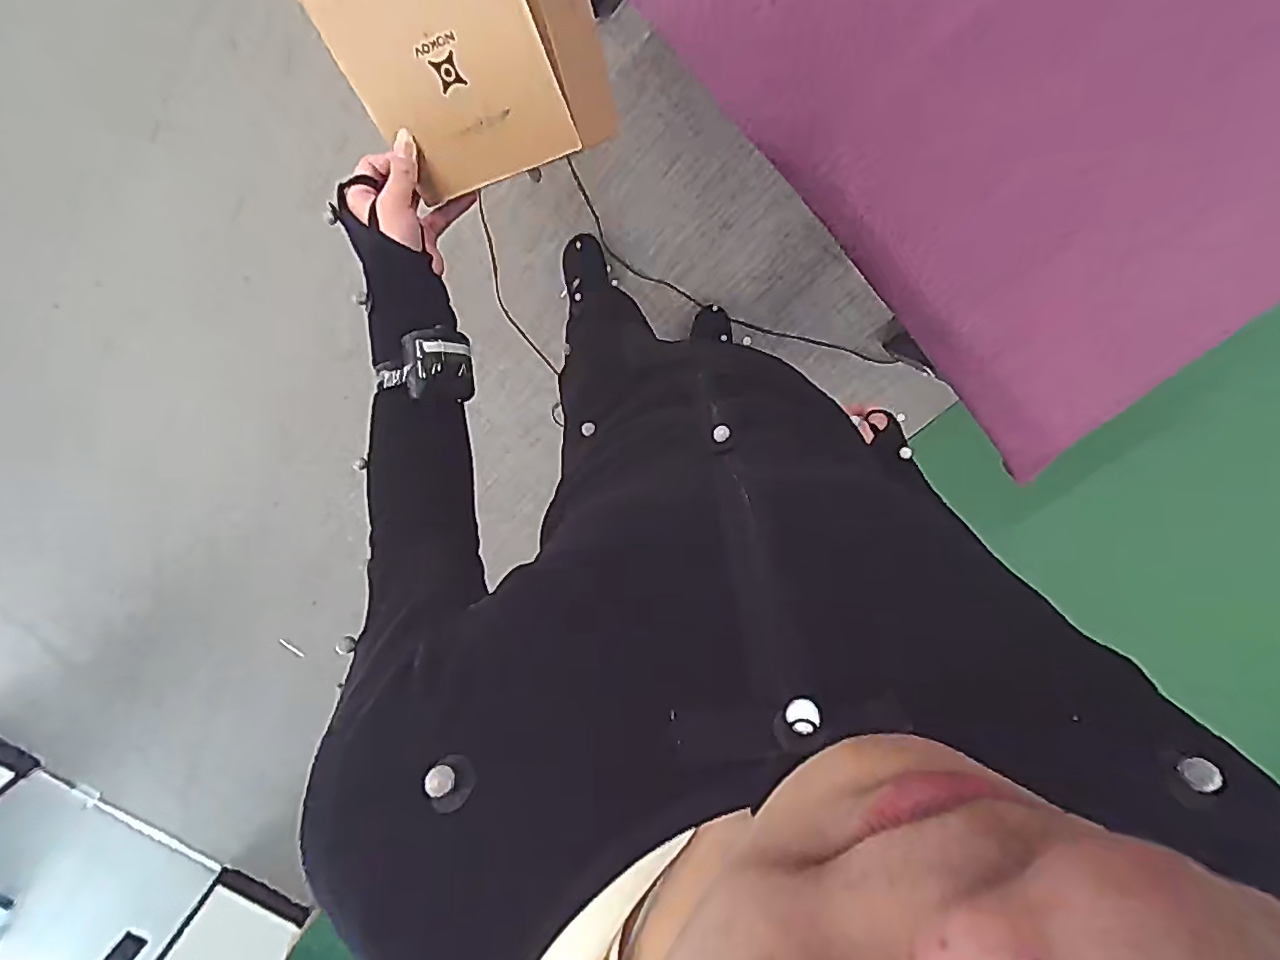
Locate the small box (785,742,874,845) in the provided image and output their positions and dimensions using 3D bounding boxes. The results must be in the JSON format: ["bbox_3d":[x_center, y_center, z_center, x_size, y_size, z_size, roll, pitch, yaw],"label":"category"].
[{"bbox_3d":[0.547,0.920,1.595,0.168,0.176,0.179,37,110,-11],"label":"small box"}]

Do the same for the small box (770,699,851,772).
[{"bbox_3d":[0.545,0.846,1.743,0.179,0.176,0.168,34,111,-9],"label":"small box"}]

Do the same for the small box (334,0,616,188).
[{"bbox_3d":[-0.135,-0.393,0.492,0.168,0.176,0.179,-6,126,19],"label":"small box"}]
